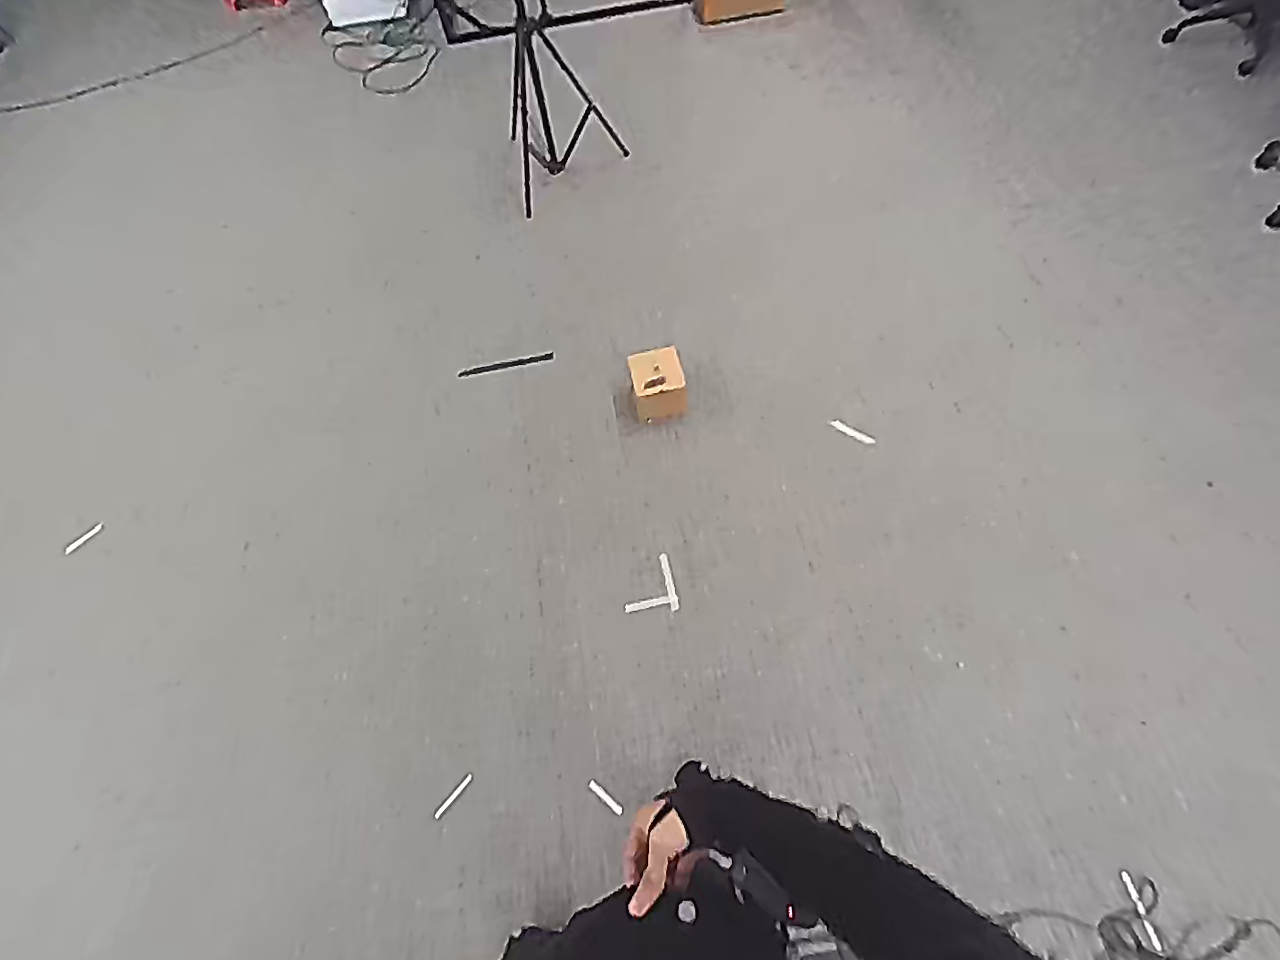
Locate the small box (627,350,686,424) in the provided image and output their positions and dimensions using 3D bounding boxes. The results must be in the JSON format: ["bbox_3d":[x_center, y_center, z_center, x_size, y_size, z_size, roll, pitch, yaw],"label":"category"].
[{"bbox_3d":[0.057,-0.306,1.824,0.168,0.176,0.179,-12,62,-2],"label":"small box"}]
